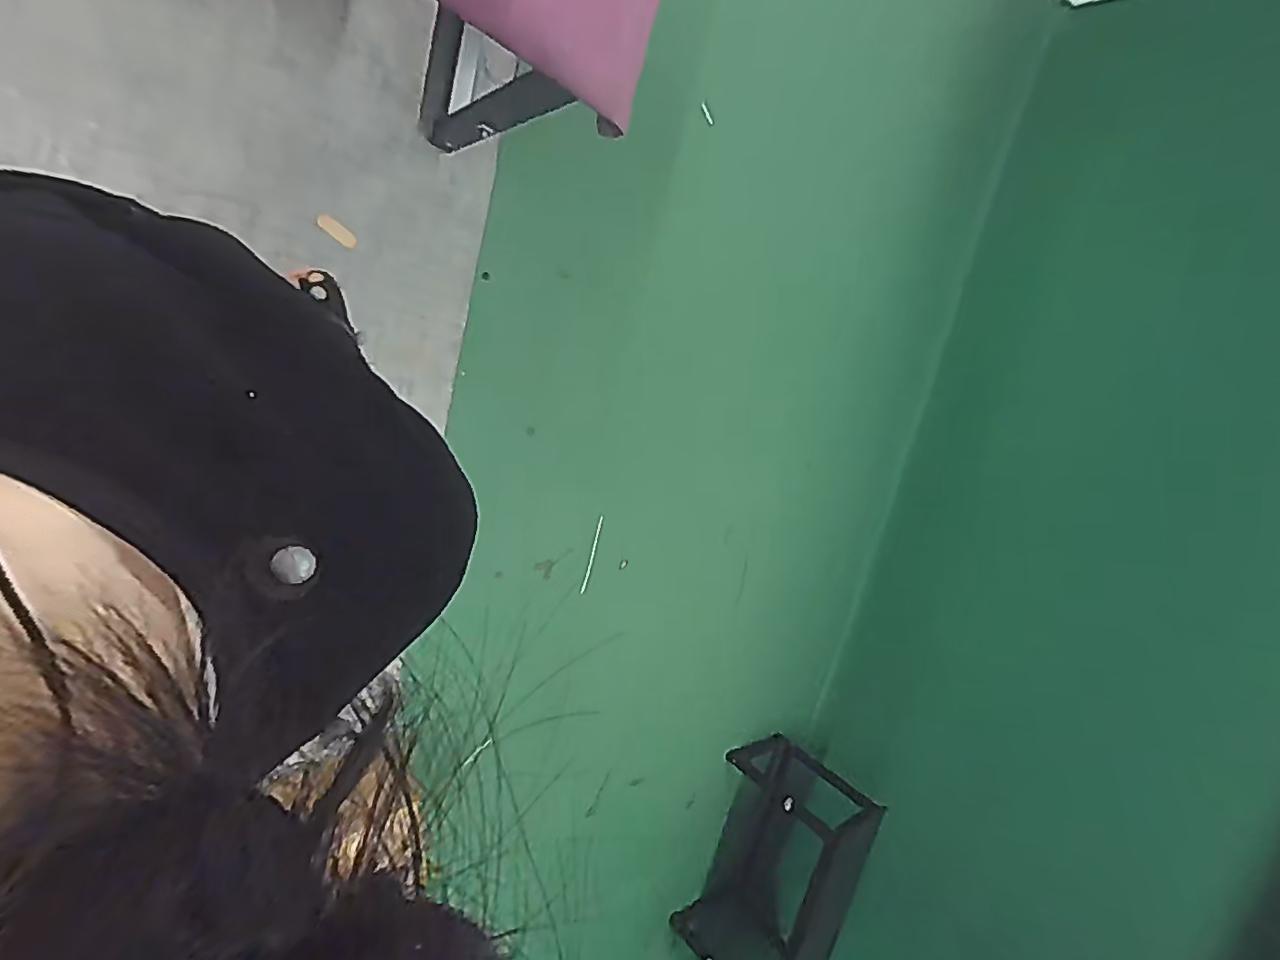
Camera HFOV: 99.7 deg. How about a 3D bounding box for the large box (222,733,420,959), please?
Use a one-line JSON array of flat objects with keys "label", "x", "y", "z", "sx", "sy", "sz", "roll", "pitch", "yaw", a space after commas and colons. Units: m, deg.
[{"label": "large box", "x": -0.889, "y": 1.010, "z": 1.525, "sx": 0.408, "sy": 0.320, "sz": 0.320, "roll": -12, "pitch": 115, "yaw": -40}]
